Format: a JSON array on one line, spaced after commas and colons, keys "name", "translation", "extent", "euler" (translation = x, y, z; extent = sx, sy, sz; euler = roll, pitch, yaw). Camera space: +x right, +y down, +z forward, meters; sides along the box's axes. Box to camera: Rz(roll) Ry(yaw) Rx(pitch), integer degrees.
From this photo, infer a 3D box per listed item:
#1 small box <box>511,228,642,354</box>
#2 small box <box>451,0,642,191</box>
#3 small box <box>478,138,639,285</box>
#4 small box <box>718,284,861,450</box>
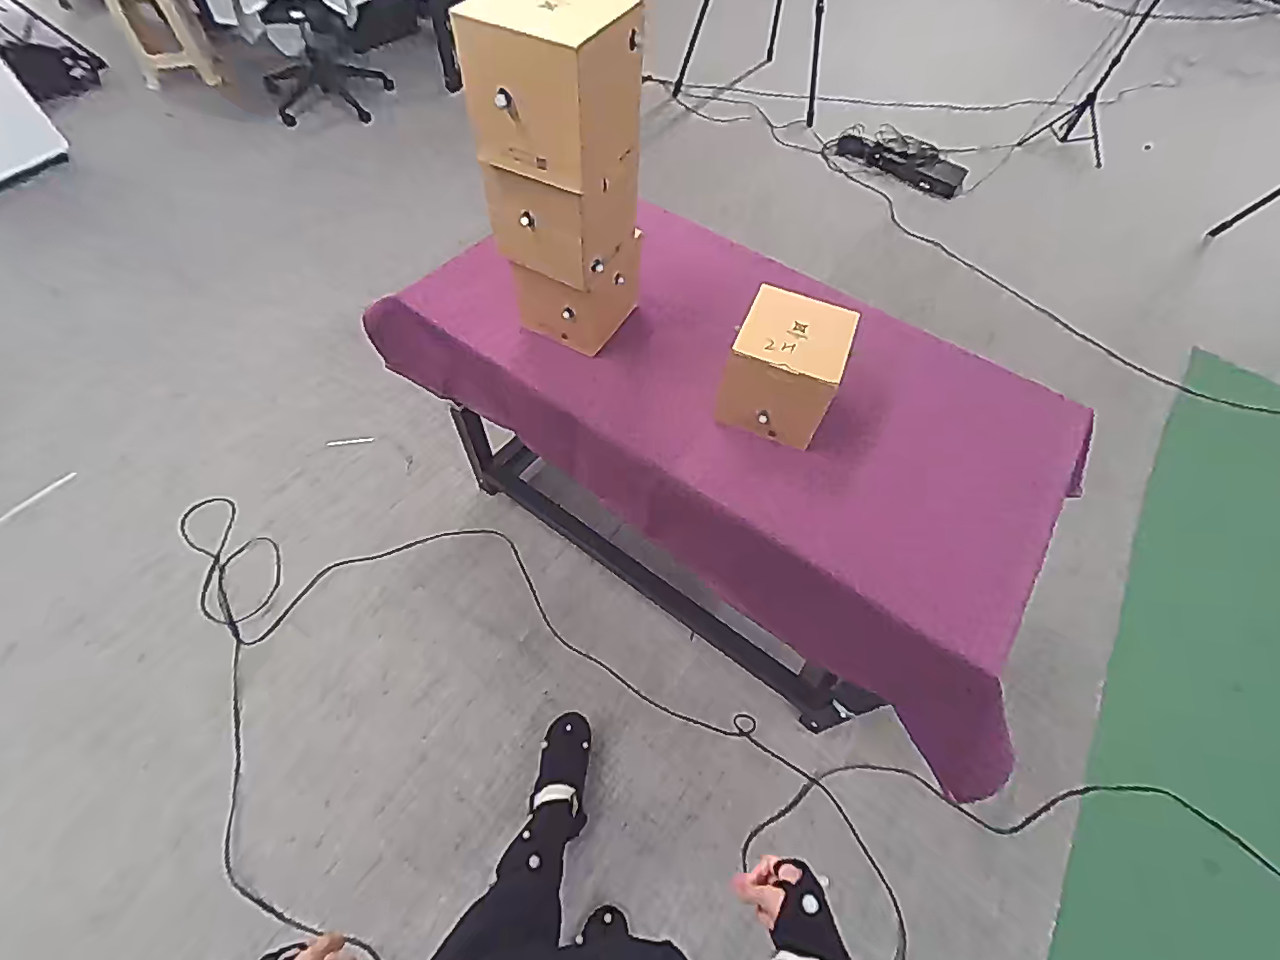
[{"name": "small box", "translation": [-0.110, -0.365, 0.994], "extent": [0.168, 0.176, 0.179], "euler": [27, 60, 12]}, {"name": "small box", "translation": [-0.108, -0.509, 0.699], "extent": [0.168, 0.176, 0.179], "euler": [24, 59, 10]}, {"name": "small box", "translation": [-0.118, -0.435, 0.844], "extent": [0.179, 0.176, 0.168], "euler": [27, 60, 13]}, {"name": "small box", "translation": [0.240, -0.184, 0.897], "extent": [0.168, 0.176, 0.179], "euler": [22, 59, 11]}]
